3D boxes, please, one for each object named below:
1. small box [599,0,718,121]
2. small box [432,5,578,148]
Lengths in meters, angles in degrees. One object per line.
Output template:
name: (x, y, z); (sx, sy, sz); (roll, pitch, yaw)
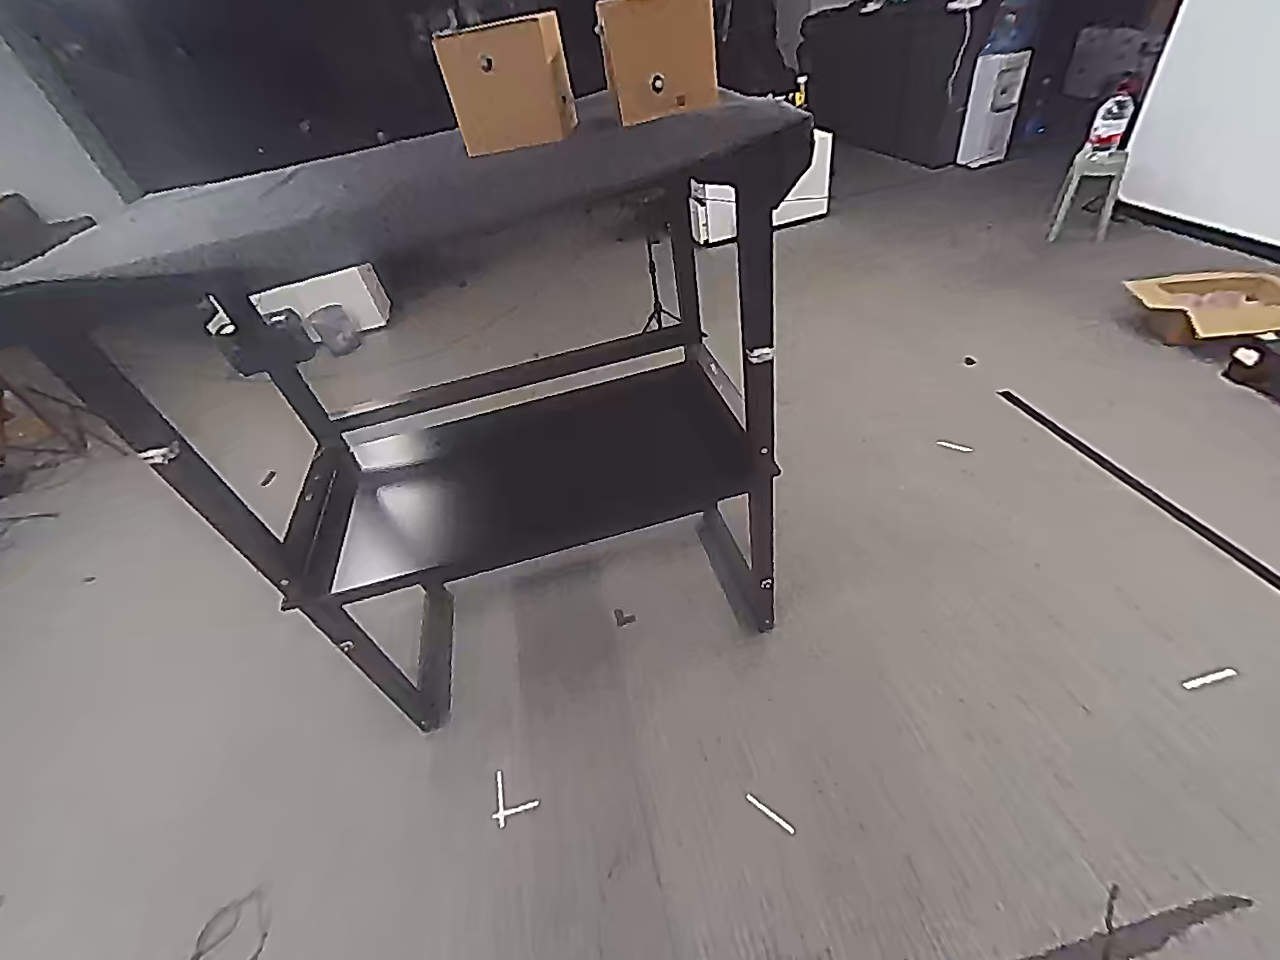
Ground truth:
small box: (0.030, -0.720, 0.904); (0.168, 0.176, 0.179); (-12, 42, 1)
small box: (-0.219, -0.690, 0.930); (0.179, 0.176, 0.168); (-4, 42, 9)
